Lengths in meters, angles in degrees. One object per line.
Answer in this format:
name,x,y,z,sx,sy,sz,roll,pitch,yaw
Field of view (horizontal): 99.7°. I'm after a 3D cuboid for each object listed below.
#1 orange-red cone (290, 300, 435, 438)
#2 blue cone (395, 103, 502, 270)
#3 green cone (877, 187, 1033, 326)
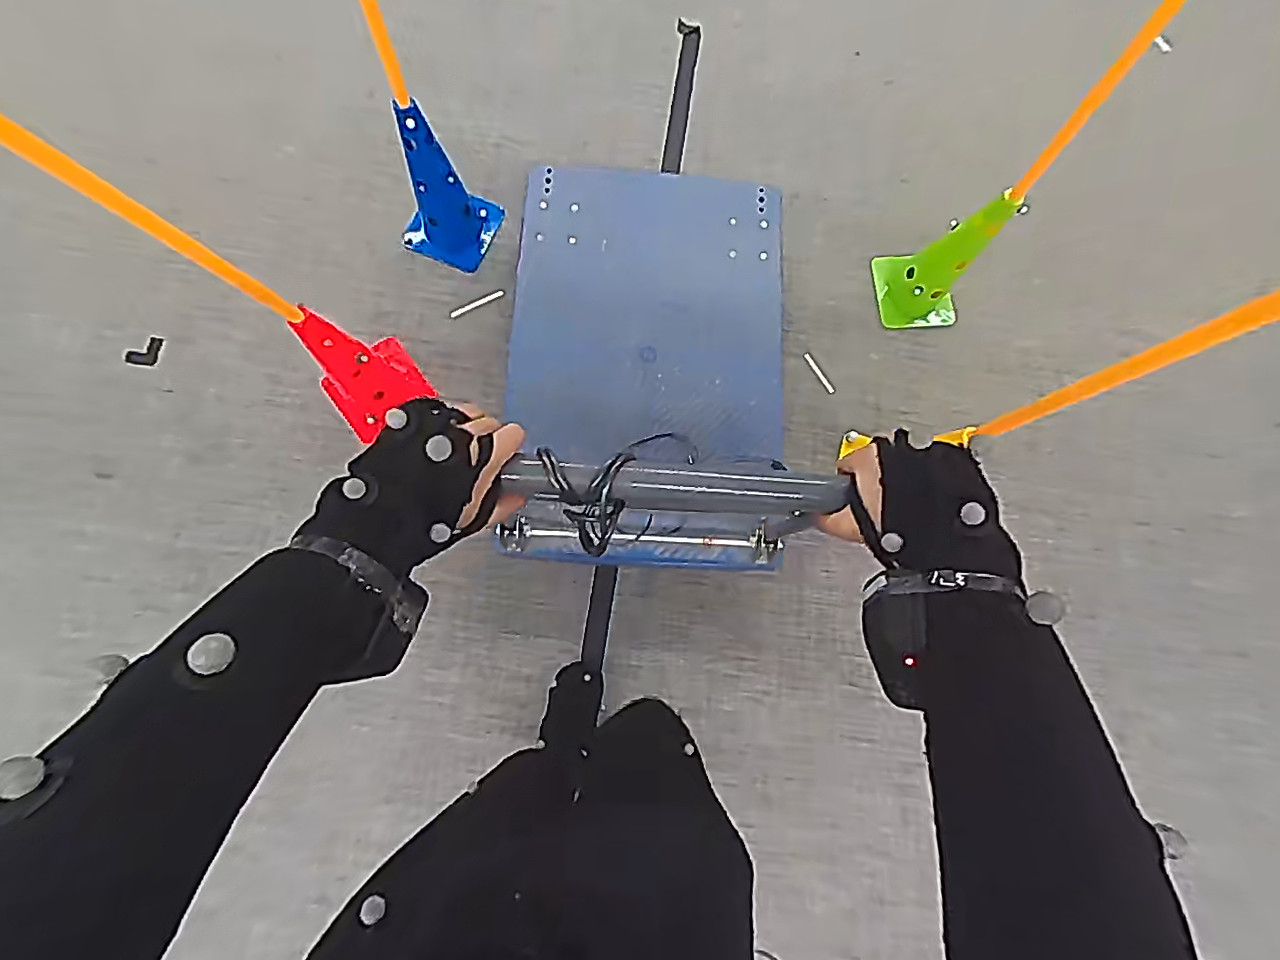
orange-red cone,-0.584,-0.252,1.078,0.199,0.360,0.198,-35,84,-11
blue cone,-0.445,-0.659,1.186,0.193,0.380,0.192,23,79,1
green cone,0.728,-0.525,1.224,0.200,0.368,0.202,-5,80,-5
